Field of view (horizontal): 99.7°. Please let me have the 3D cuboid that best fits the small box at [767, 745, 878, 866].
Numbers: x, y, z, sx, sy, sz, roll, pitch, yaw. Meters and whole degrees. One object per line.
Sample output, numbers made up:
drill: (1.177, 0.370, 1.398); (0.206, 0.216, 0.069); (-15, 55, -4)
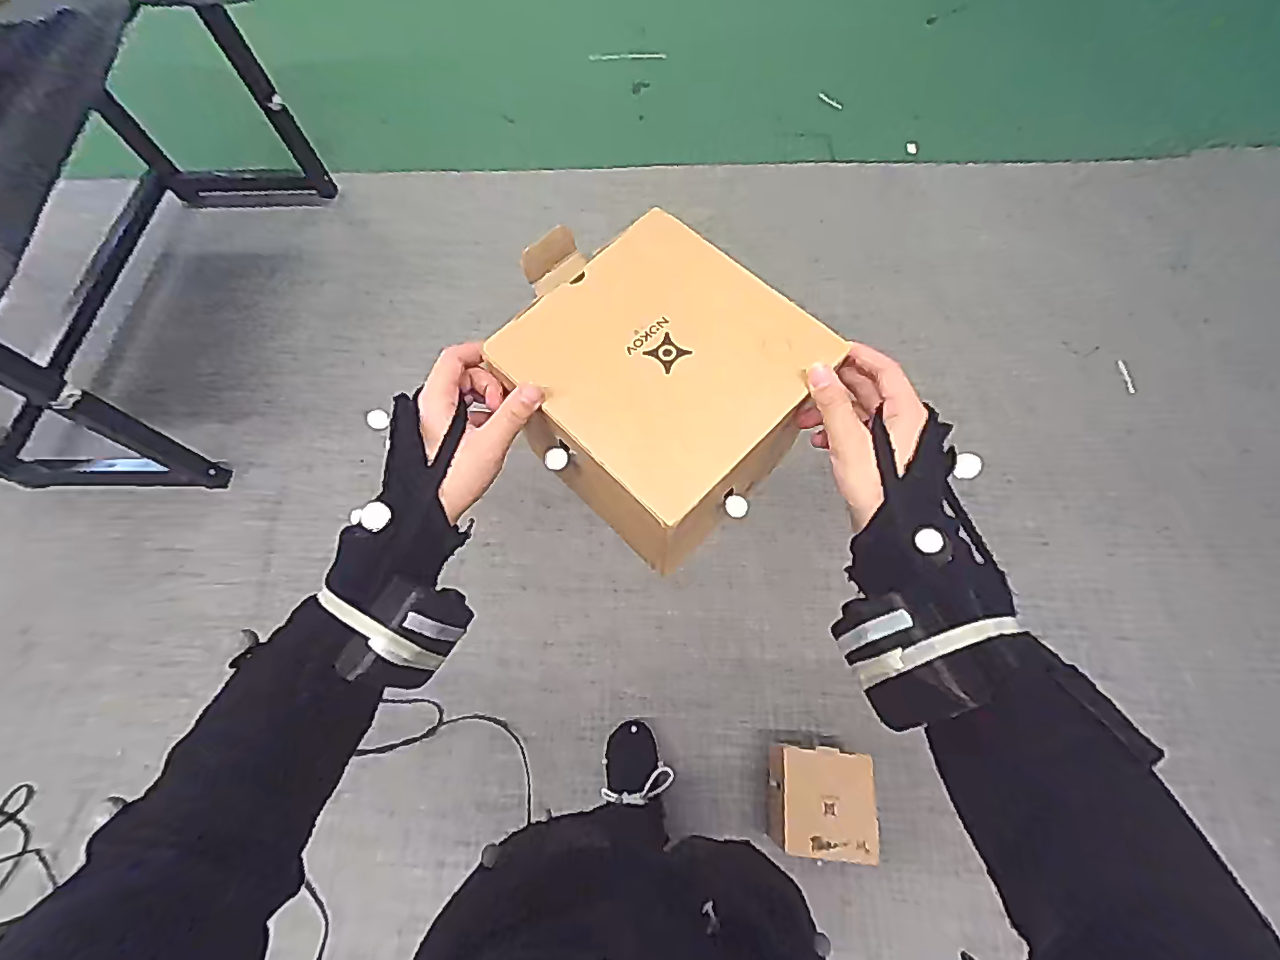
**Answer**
small box: (0.342, 0.618, 1.048); (0.168, 0.176, 0.179); (4, 65, 4)
